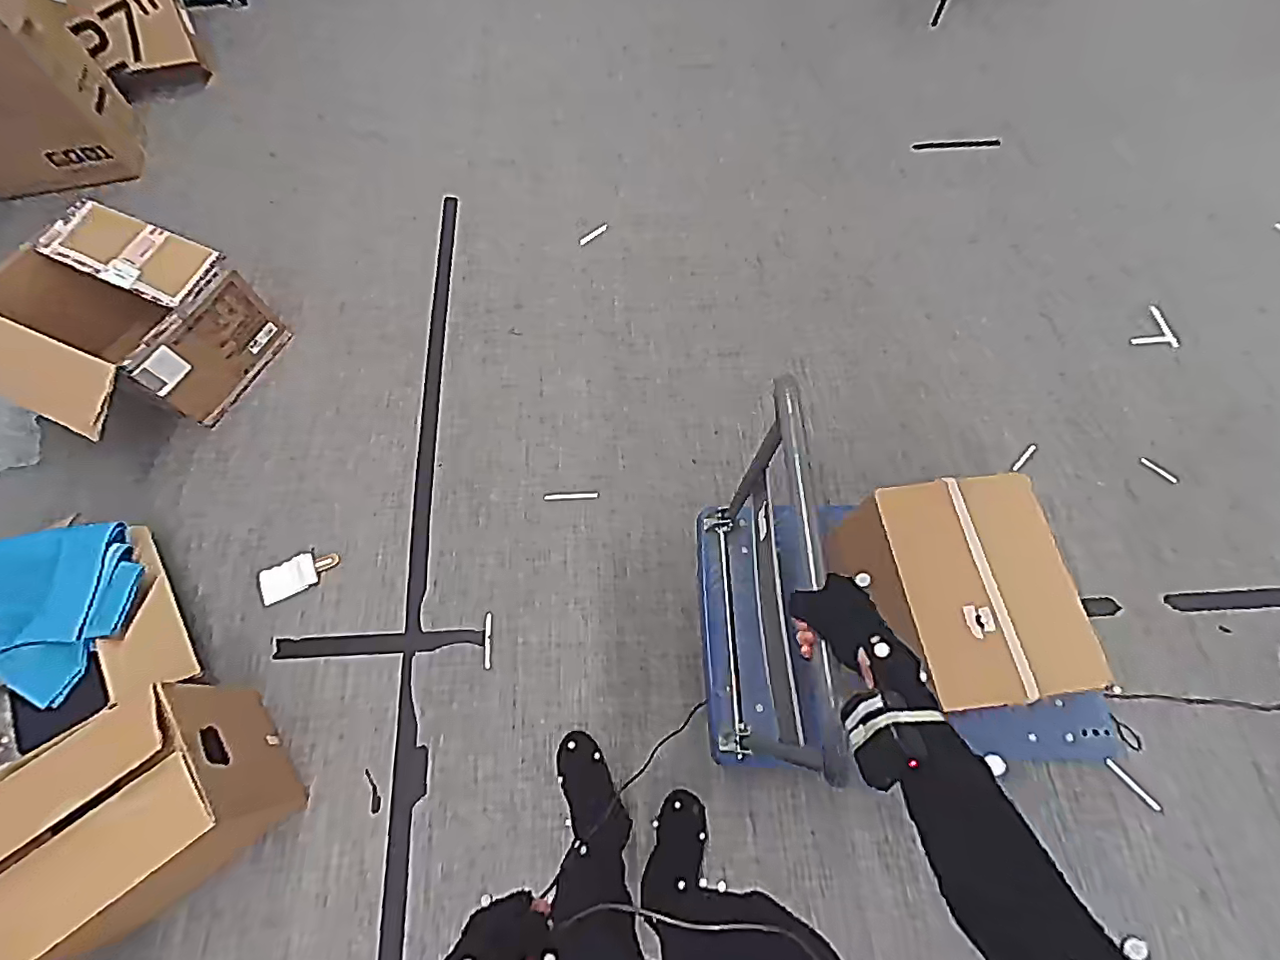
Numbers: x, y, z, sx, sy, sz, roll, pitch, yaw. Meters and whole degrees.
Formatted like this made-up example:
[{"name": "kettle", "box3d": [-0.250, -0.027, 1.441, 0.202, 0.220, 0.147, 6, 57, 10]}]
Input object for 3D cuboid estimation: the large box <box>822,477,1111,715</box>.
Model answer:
[{"name": "large box", "box3d": [0.622, 0.248, 1.122, 0.320, 0.320, 0.408, -7, 67, -4]}]
